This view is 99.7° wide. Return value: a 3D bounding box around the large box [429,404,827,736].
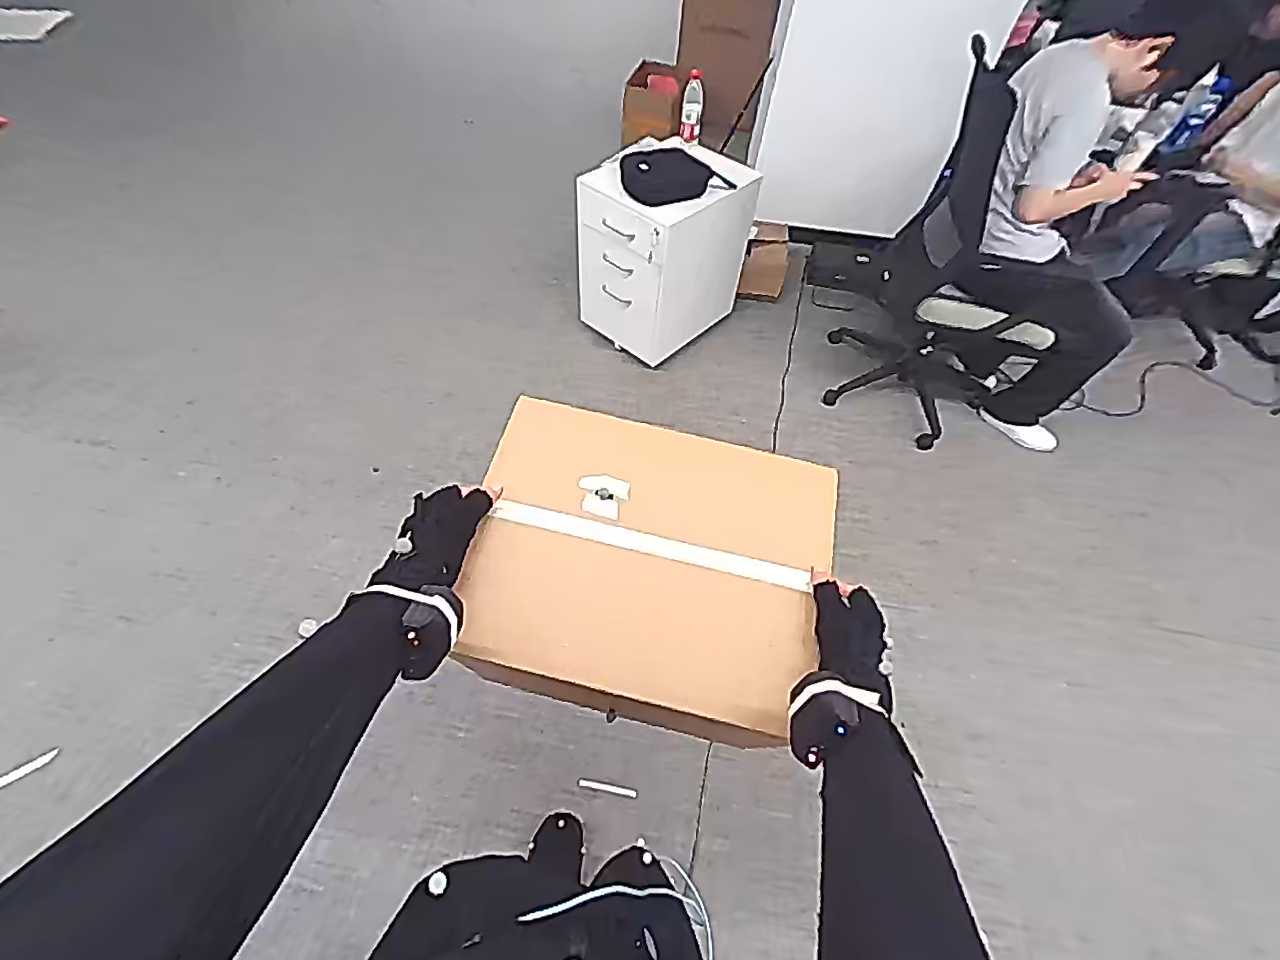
[{"bbox_3d":[0.001,0.142,0.746,0.408,0.320,0.320,14,62,4],"label":"large box"}]
